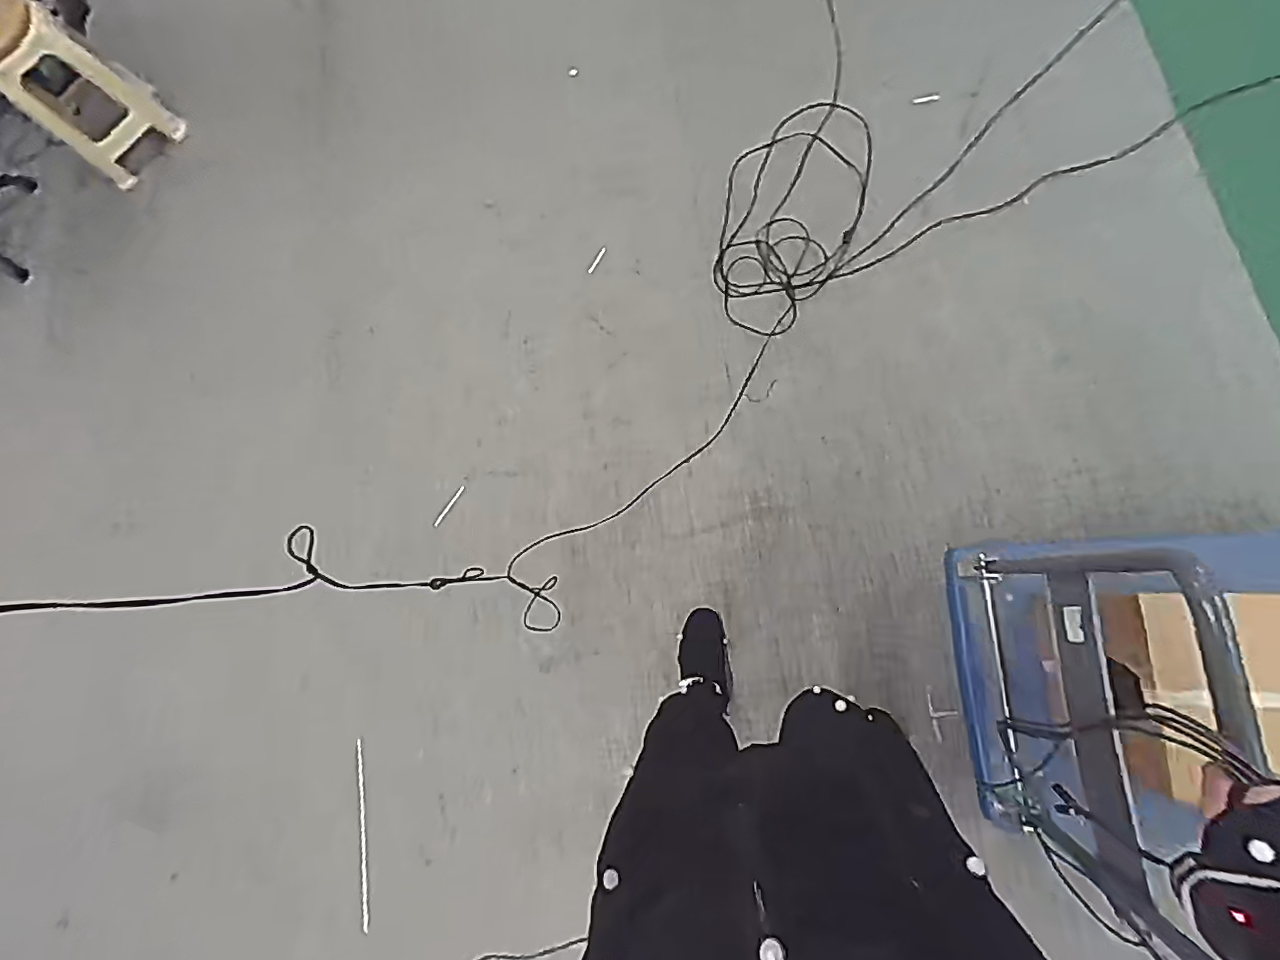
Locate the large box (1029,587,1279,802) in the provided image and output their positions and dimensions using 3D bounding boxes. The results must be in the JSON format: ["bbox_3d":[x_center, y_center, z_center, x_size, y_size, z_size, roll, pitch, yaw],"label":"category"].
[{"bbox_3d":[1.007,0.351,0.961,0.408,0.320,0.320,-1,80,8],"label":"large box"}]
